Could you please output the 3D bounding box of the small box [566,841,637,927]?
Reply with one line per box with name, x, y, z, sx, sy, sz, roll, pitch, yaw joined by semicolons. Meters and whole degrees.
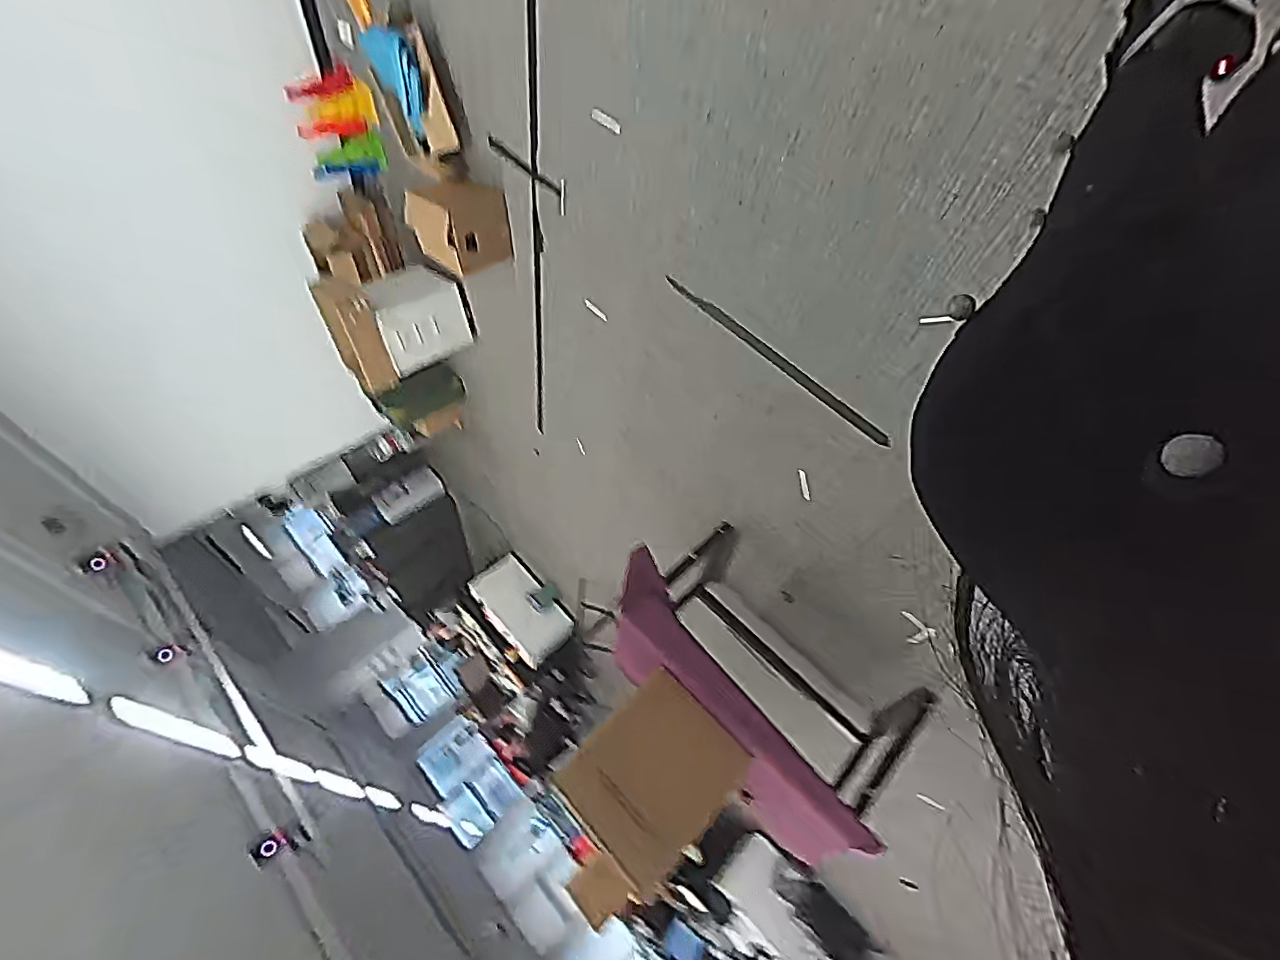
small box;-0.140;1.455;1.964;0.179;0.176;0.168;50;151;10
